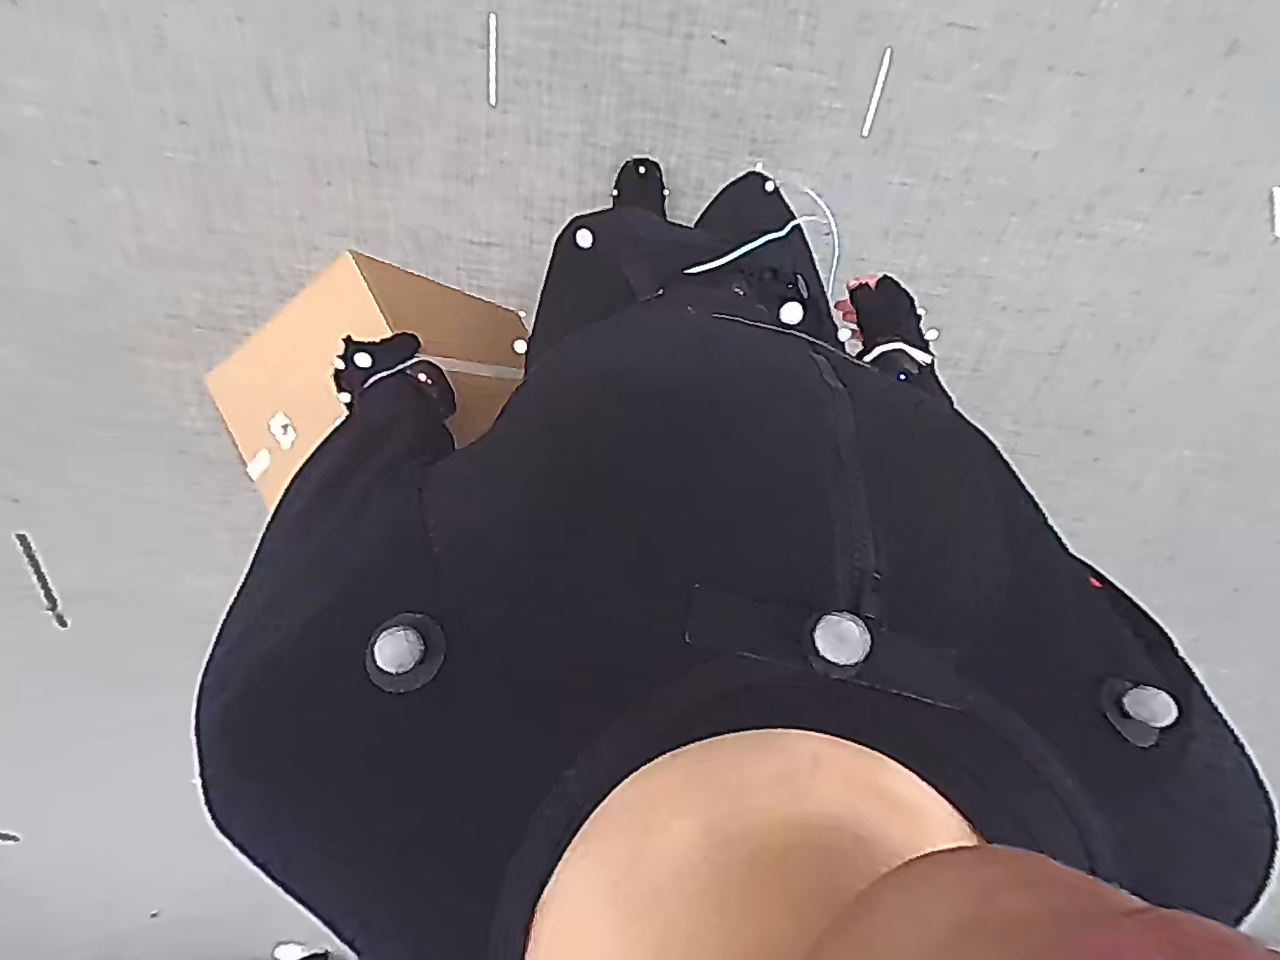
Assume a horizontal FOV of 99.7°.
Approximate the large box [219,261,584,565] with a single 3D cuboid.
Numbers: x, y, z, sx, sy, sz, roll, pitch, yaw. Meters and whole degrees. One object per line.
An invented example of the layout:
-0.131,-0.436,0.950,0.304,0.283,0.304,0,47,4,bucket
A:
-0.360,-0.097,0.909,0.320,0.408,0.320,-29,86,18,large box
